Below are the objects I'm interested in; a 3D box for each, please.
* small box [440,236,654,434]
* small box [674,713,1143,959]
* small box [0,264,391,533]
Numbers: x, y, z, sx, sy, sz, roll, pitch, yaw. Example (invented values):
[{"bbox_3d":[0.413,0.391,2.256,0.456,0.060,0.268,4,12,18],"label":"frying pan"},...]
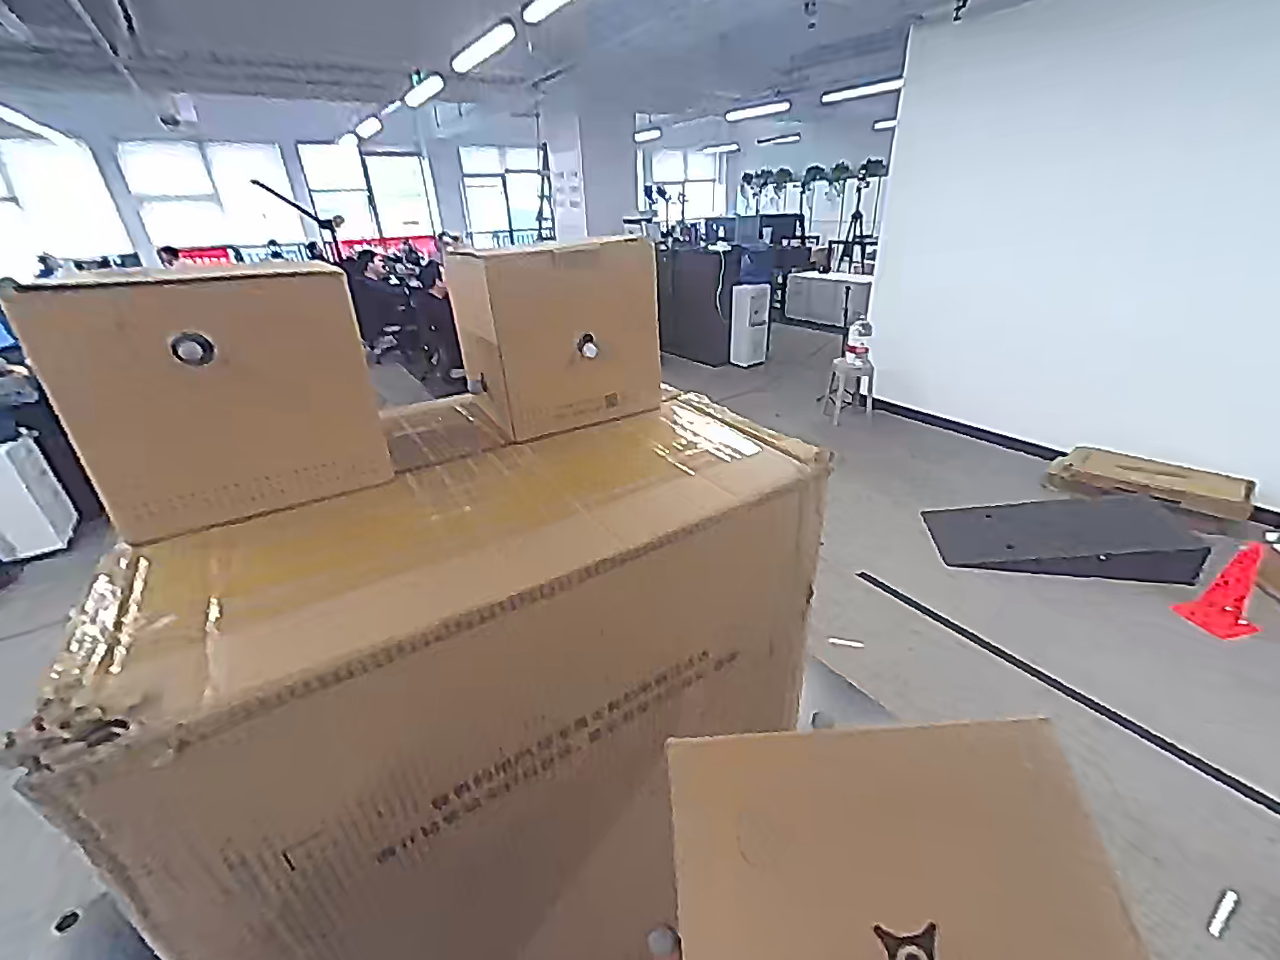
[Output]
[{"bbox_3d":[-0.096,-0.158,0.576,0.168,0.176,0.179,-17,29,-25],"label":"small box"},{"bbox_3d":[0.104,0.223,0.262,0.168,0.176,0.179,-5,59,3],"label":"small box"},{"bbox_3d":[-0.324,-0.077,0.435,0.179,0.176,0.168,-17,29,-29],"label":"small box"}]
